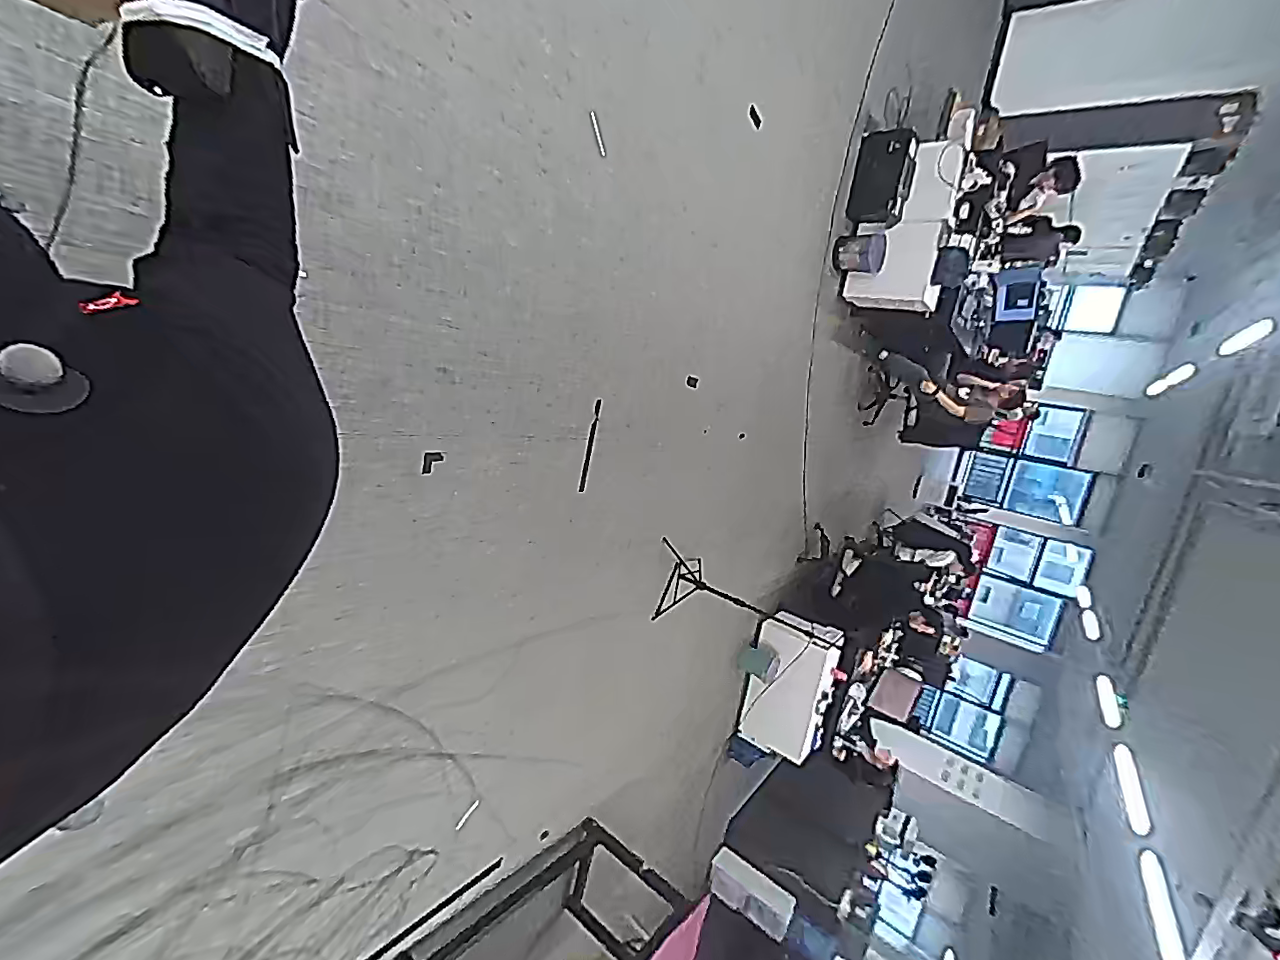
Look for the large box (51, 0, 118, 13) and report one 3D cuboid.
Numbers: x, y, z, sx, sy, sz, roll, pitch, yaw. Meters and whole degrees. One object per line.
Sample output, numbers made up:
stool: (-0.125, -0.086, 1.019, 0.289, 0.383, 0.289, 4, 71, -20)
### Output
large box: (-0.498, -0.520, 0.246, 0.408, 0.320, 0.320, -5, 117, -54)
